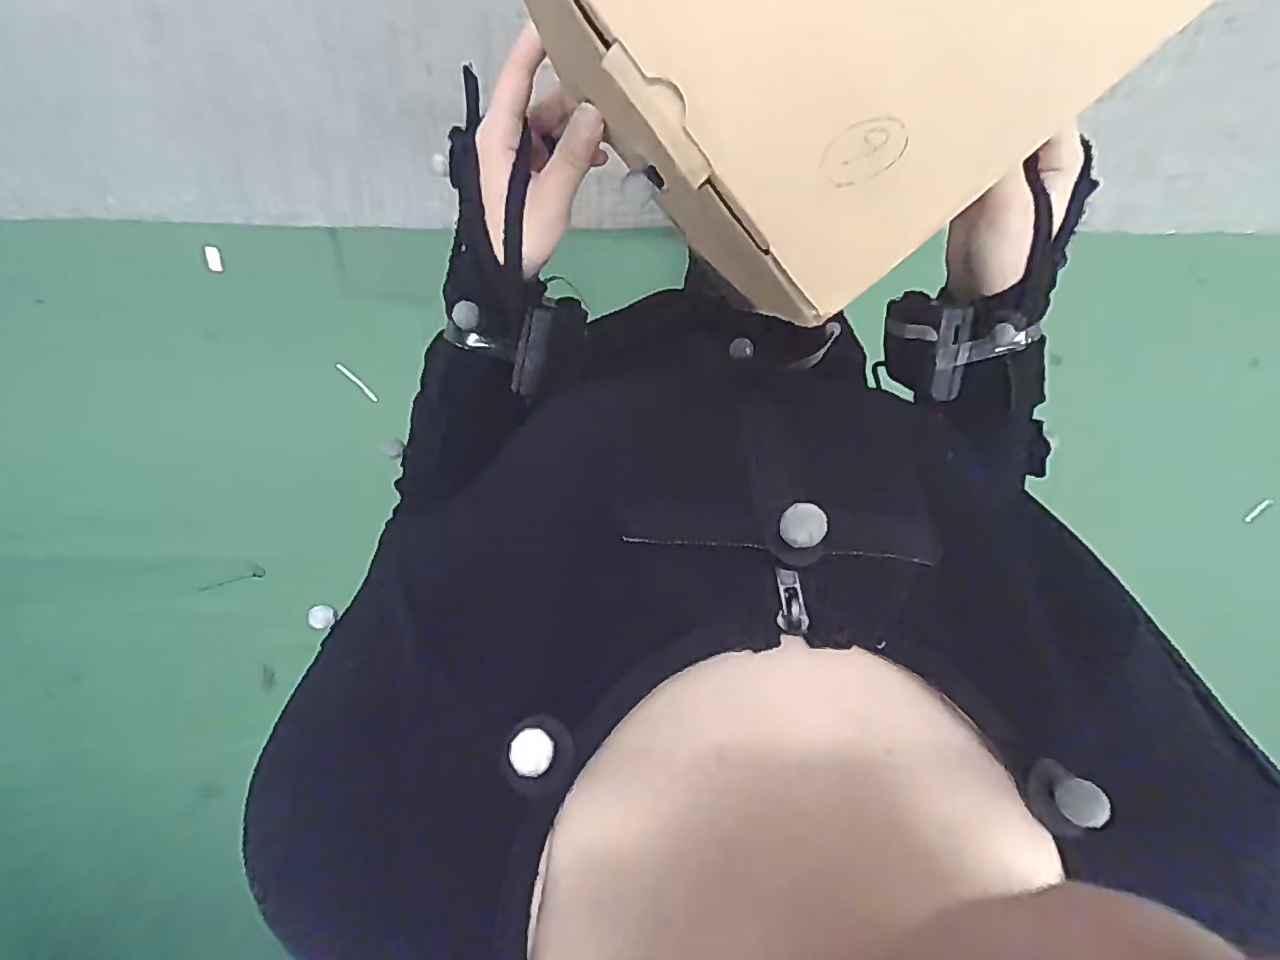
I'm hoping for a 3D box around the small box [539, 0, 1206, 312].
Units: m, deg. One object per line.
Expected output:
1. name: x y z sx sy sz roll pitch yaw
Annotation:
1. small box: 0.072 -0.190 0.217 0.179 0.176 0.168 -39 104 14
